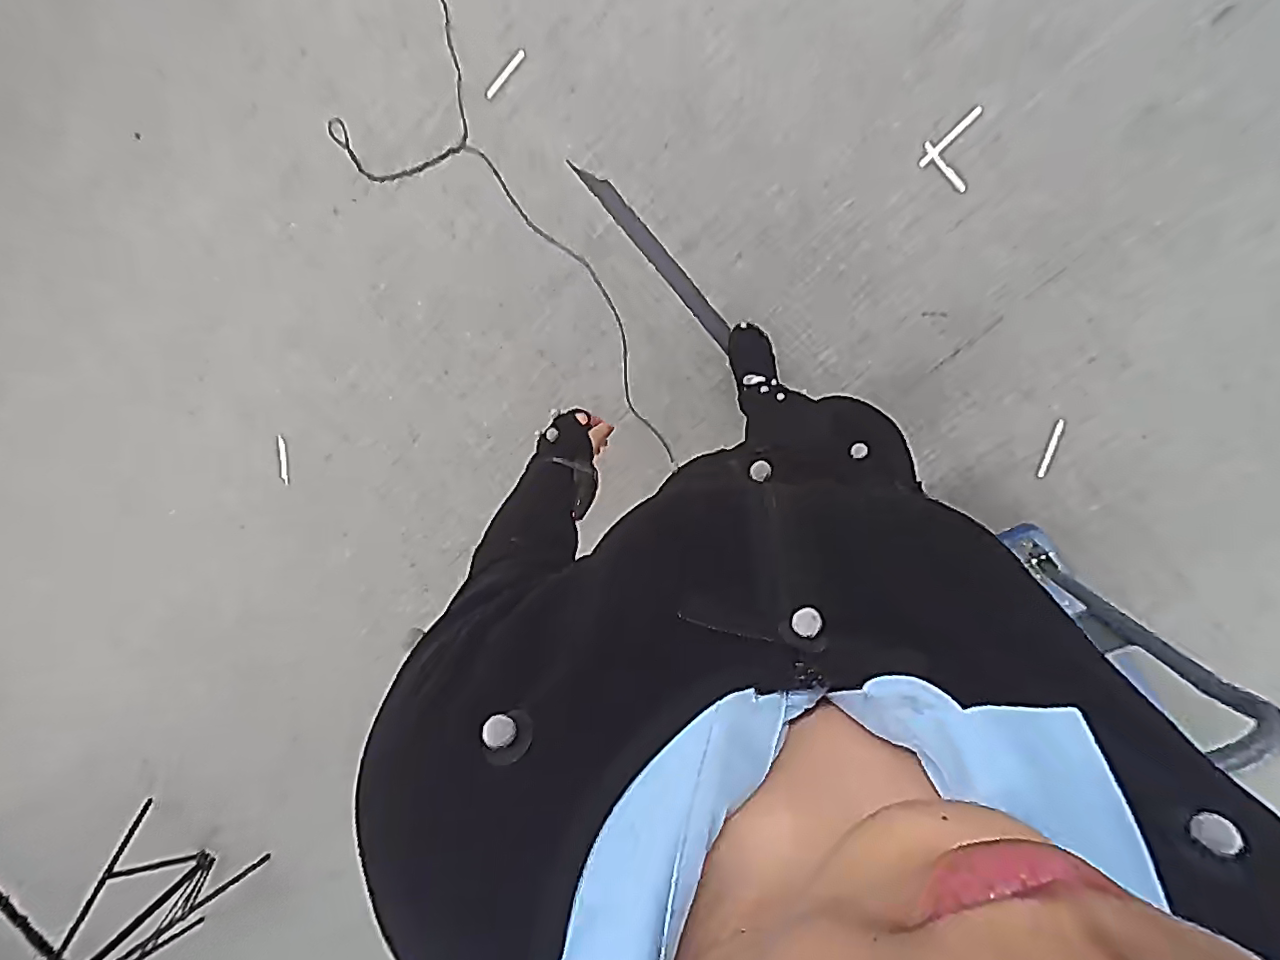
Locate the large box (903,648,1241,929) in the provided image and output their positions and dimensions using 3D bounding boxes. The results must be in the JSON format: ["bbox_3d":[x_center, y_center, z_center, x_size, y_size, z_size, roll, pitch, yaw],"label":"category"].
[{"bbox_3d":[0.860,0.634,1.153,0.408,0.320,0.320,-33,94,16],"label":"large box"}]
